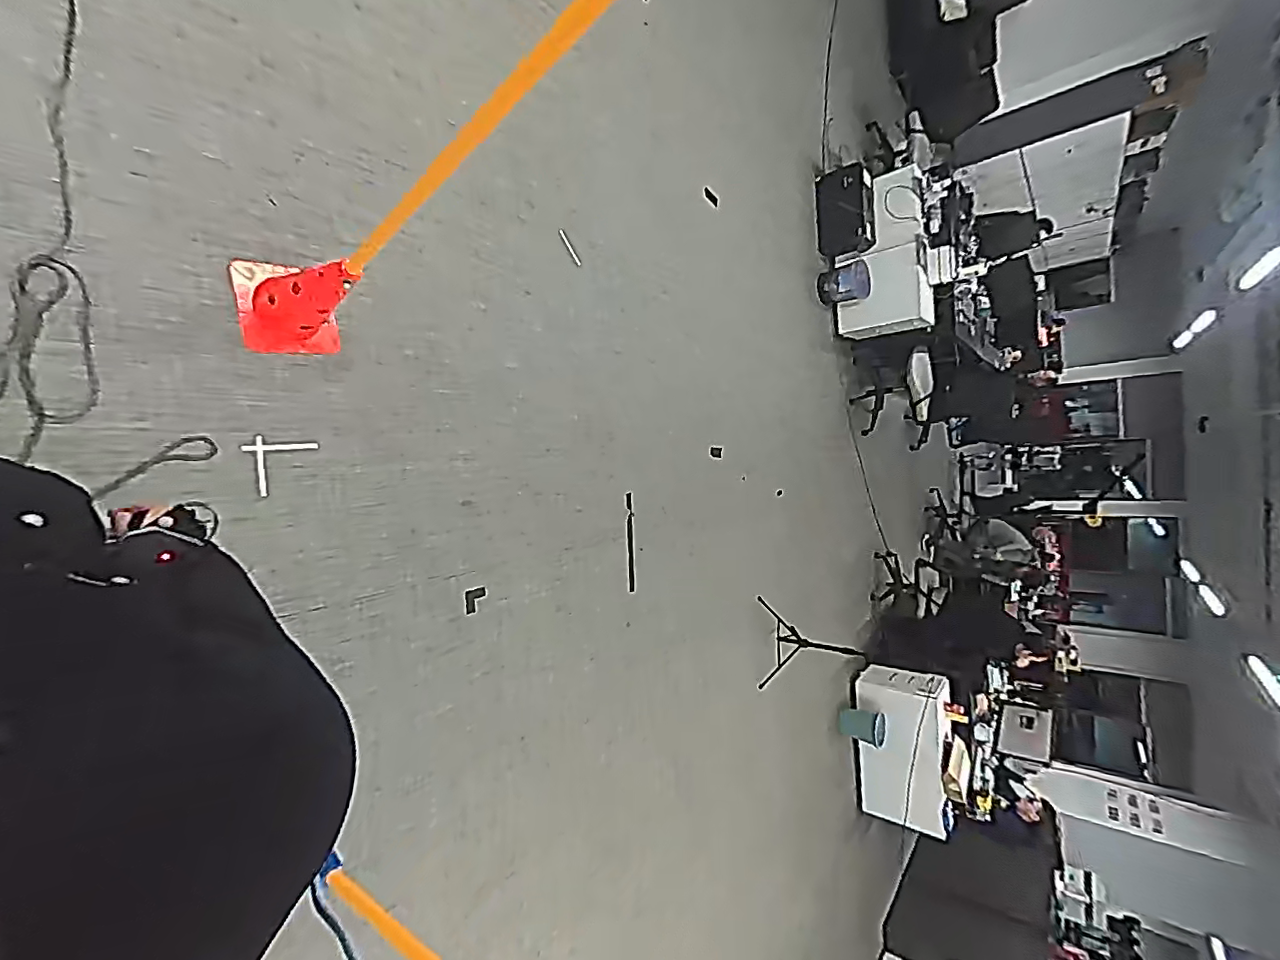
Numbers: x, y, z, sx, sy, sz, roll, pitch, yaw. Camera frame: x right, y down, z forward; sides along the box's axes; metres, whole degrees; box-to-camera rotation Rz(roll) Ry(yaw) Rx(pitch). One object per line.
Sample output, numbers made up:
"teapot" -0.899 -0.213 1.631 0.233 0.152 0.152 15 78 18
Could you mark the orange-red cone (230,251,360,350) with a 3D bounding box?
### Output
"orange-red cone" -0.680 -0.405 1.130 0.199 0.360 0.198 -13 98 -49
